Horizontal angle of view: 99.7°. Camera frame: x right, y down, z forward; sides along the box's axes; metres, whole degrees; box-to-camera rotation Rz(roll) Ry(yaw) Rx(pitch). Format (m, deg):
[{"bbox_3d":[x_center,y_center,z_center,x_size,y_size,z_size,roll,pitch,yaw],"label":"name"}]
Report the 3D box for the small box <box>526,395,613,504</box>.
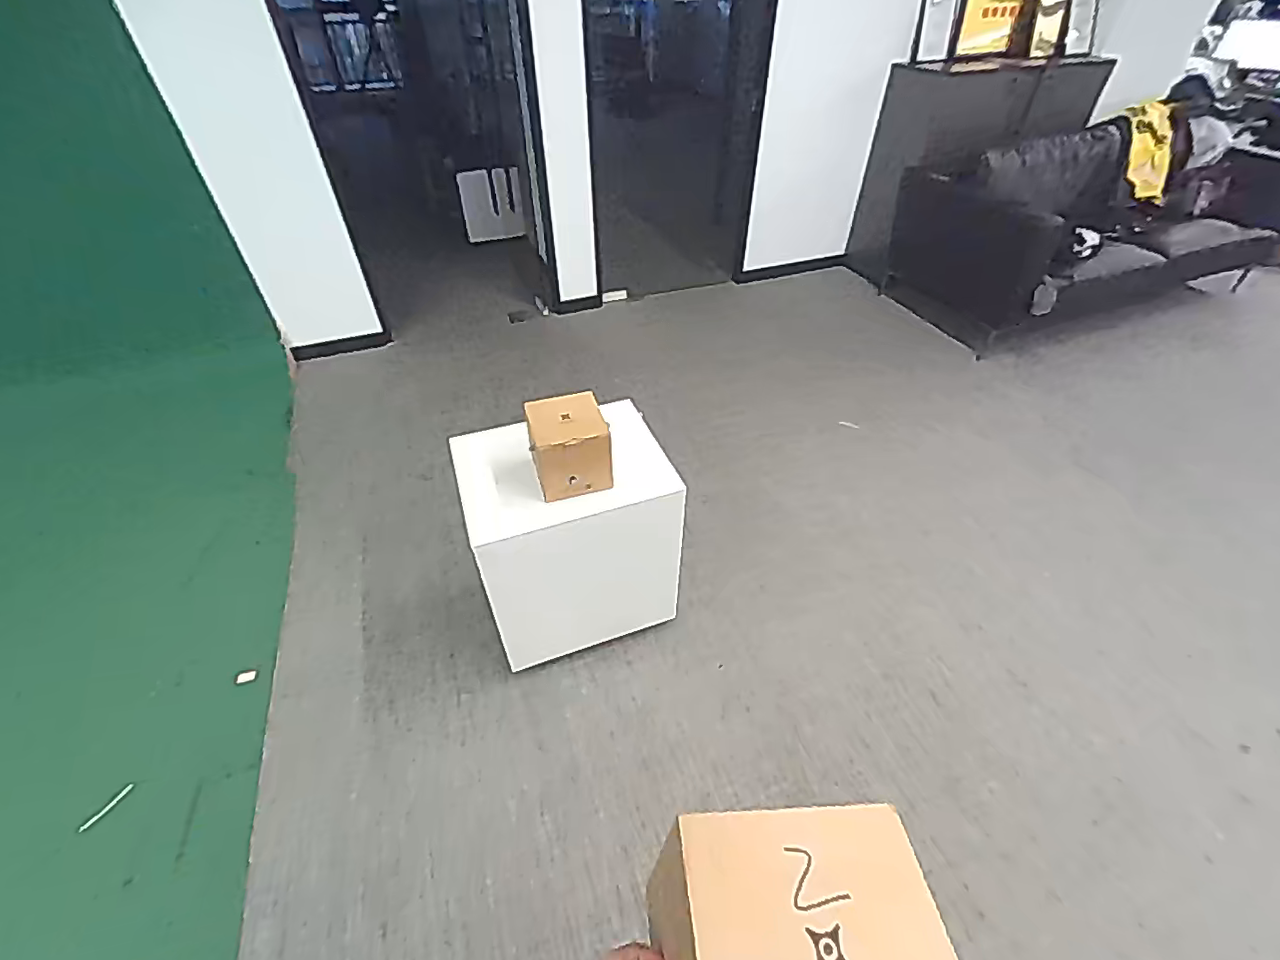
[{"bbox_3d":[-0.164,-0.072,1.267,0.168,0.176,0.179,-13,44,-13],"label":"small box"}]
